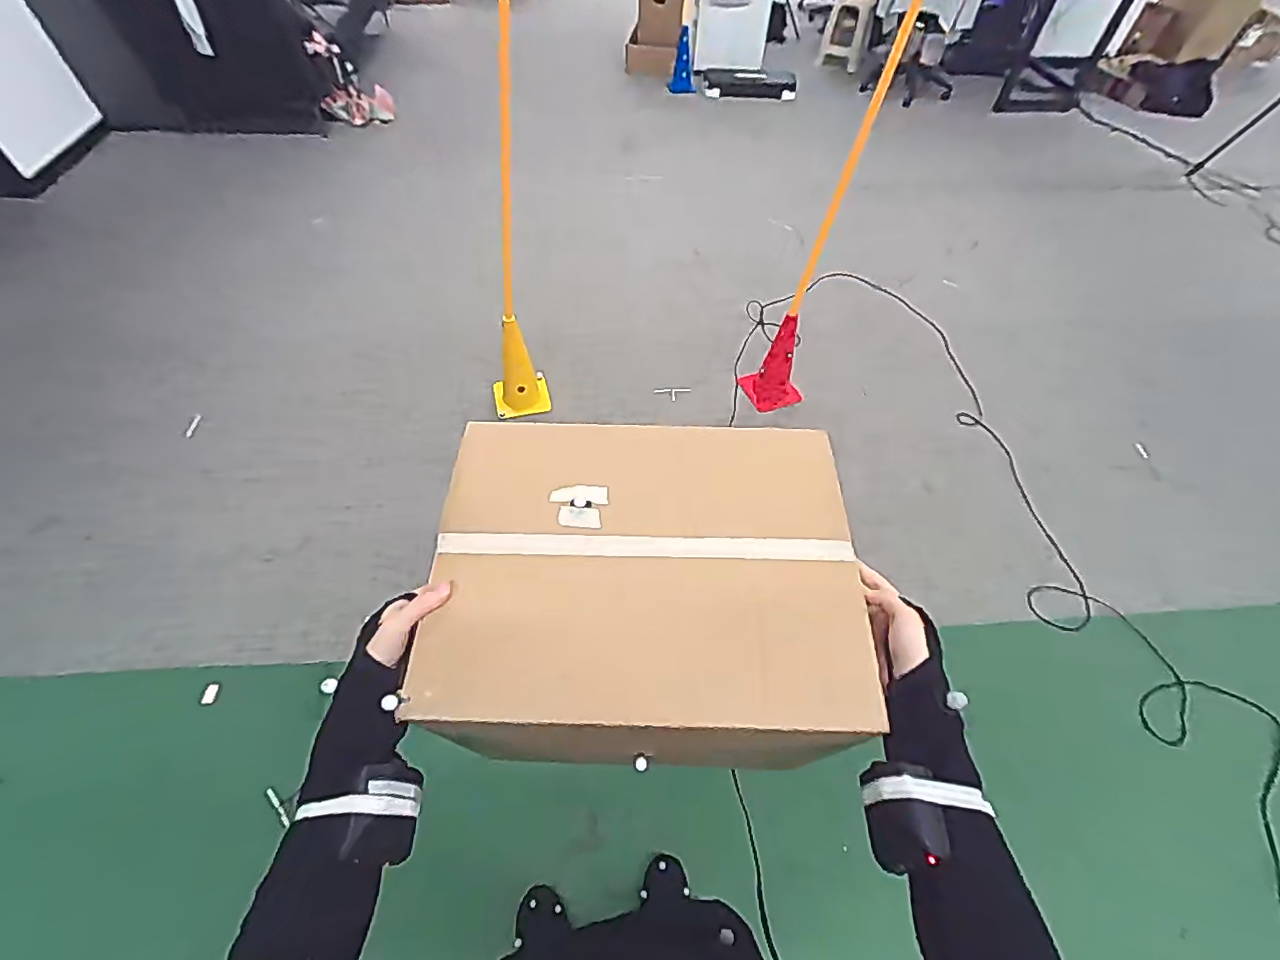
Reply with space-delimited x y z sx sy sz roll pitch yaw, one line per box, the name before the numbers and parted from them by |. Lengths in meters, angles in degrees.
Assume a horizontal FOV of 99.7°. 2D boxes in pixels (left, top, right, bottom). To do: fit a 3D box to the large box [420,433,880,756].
large box | 0.013 0.155 0.666 0.408 0.320 0.320 1 56 1
